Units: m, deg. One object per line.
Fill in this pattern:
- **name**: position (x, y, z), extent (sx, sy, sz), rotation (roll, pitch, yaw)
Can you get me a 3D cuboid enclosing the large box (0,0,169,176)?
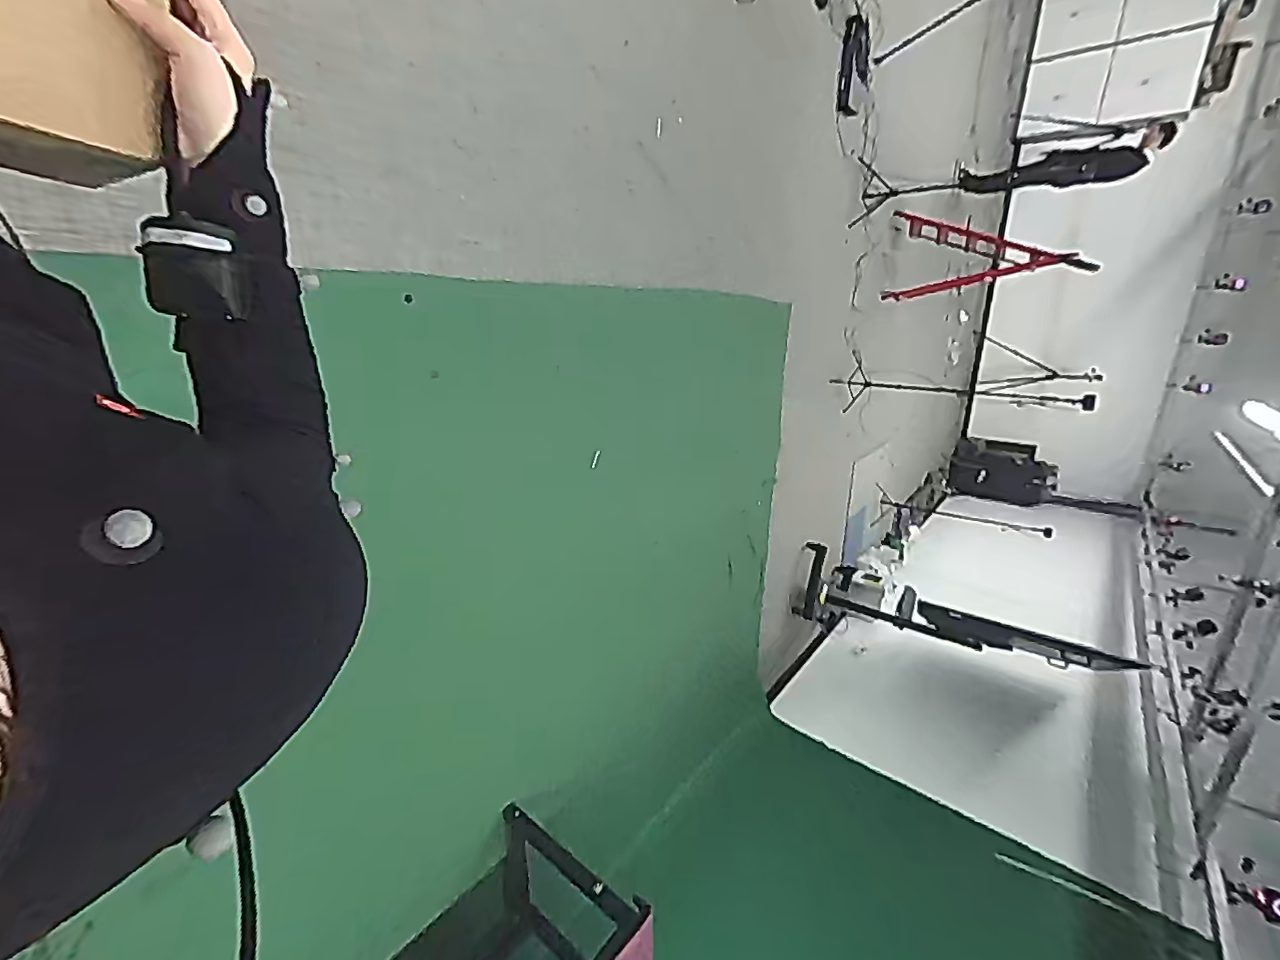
- **large box**: position (-0.552, -0.397, 0.280), extent (0.408, 0.320, 0.320), rotation (-8, 112, -52)
